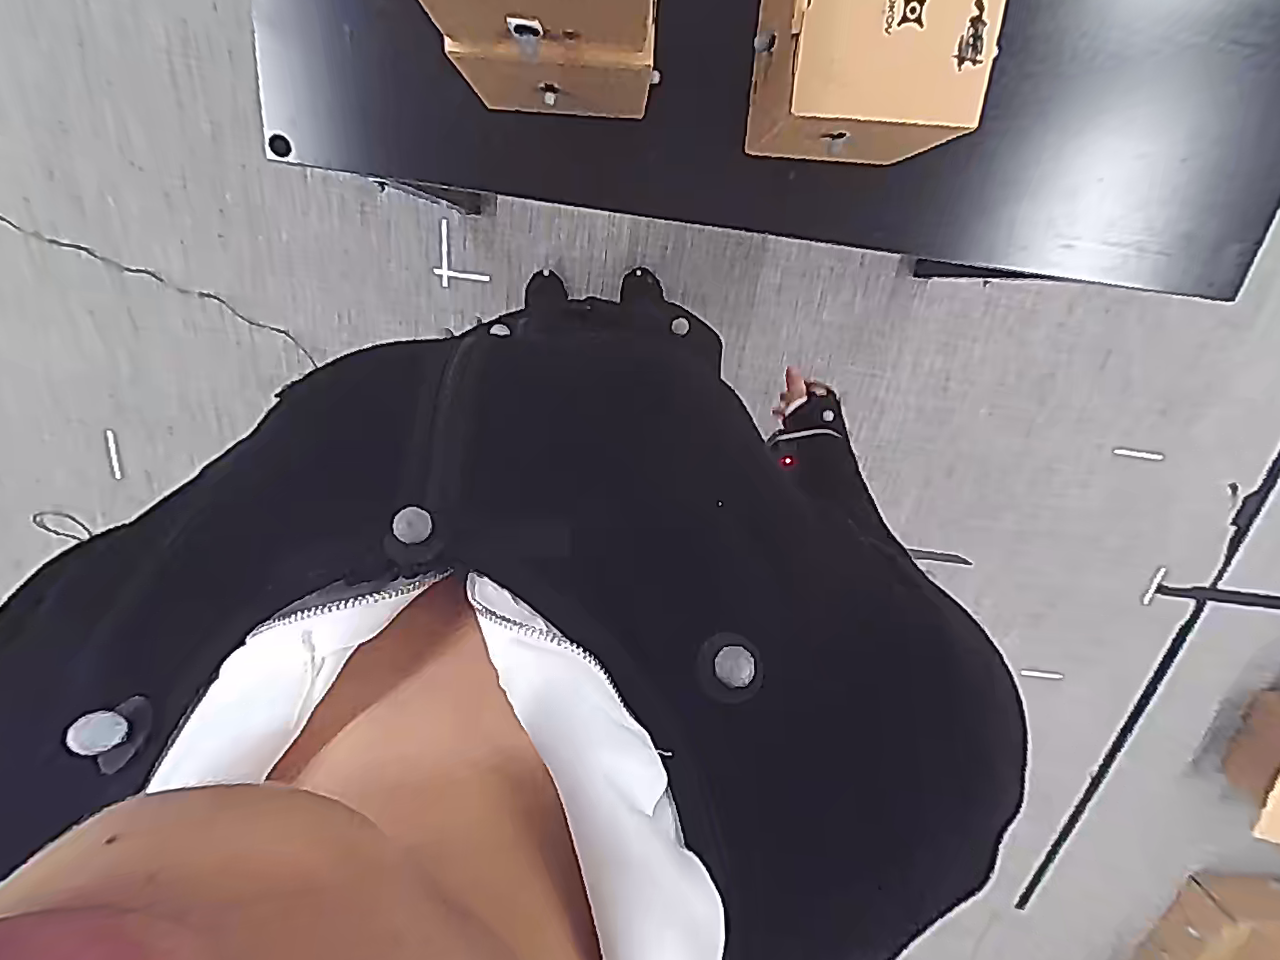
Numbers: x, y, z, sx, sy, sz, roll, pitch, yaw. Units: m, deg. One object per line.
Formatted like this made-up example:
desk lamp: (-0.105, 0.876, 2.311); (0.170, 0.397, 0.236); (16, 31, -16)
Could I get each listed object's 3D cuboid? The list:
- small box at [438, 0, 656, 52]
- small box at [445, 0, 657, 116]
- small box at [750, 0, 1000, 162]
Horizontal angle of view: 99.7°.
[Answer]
small box: (-0.069, -0.415, 0.348); (0.168, 0.176, 0.179); (0, 111, -1)
small box: (-0.074, -0.460, 0.505); (0.179, 0.176, 0.168); (2, 110, -2)
small box: (0.215, -0.425, 0.531); (0.179, 0.176, 0.168); (3, 110, -3)
